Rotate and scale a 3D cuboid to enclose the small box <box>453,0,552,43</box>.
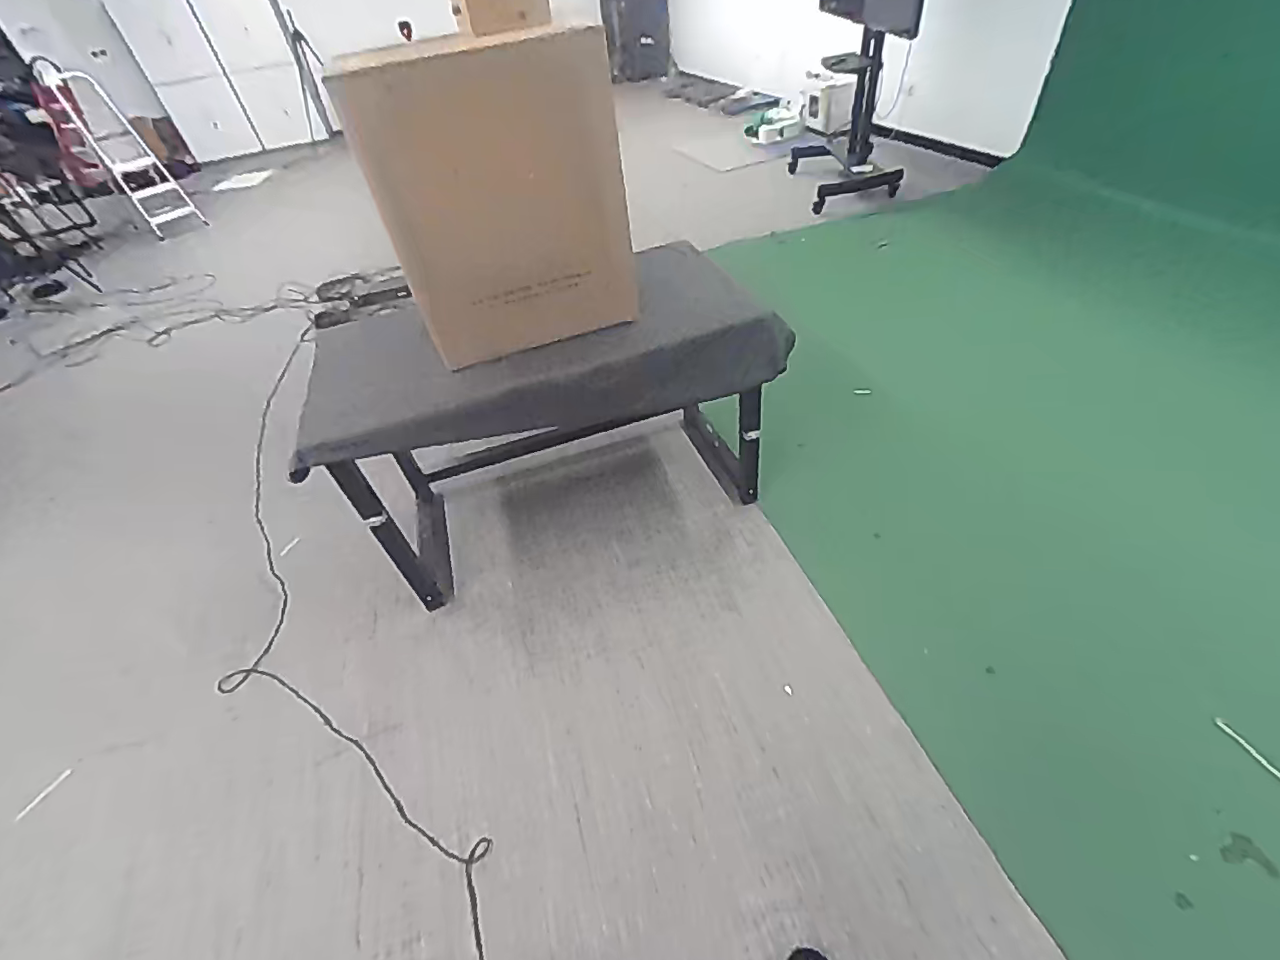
[{"bbox_3d":[-0.288,-0.993,1.075,0.168,0.176,0.179,-21,48,-12],"label":"small box"}]
